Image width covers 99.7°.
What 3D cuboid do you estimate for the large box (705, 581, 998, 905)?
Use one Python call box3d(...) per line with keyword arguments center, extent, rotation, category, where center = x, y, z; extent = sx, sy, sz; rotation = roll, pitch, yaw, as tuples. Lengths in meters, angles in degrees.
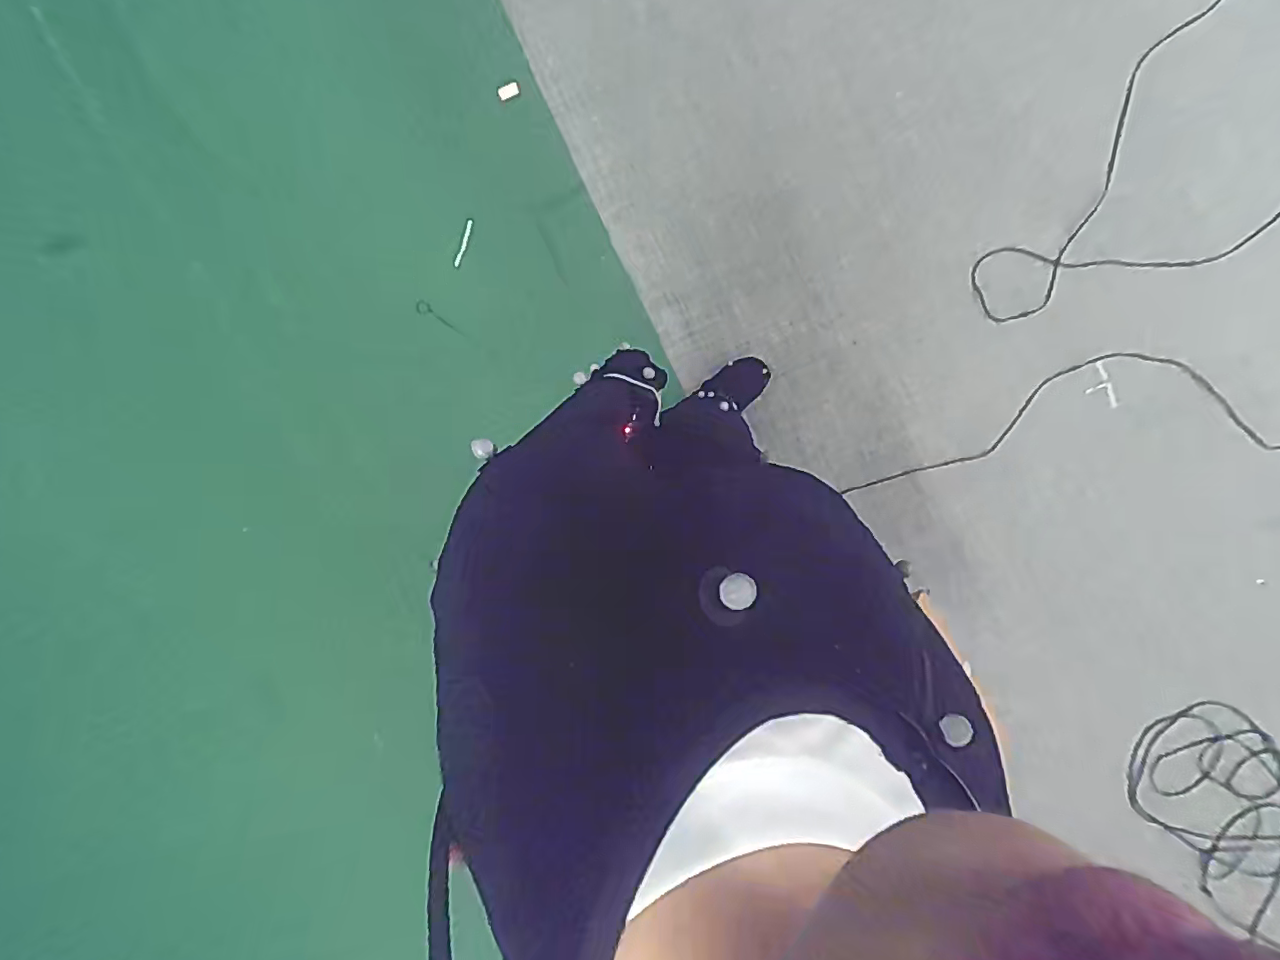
box3d(center=(0.389, 0.444, 0.977), extent=(0.320, 0.408, 0.320), rotation=(-30, 88, 42), category="large box")
